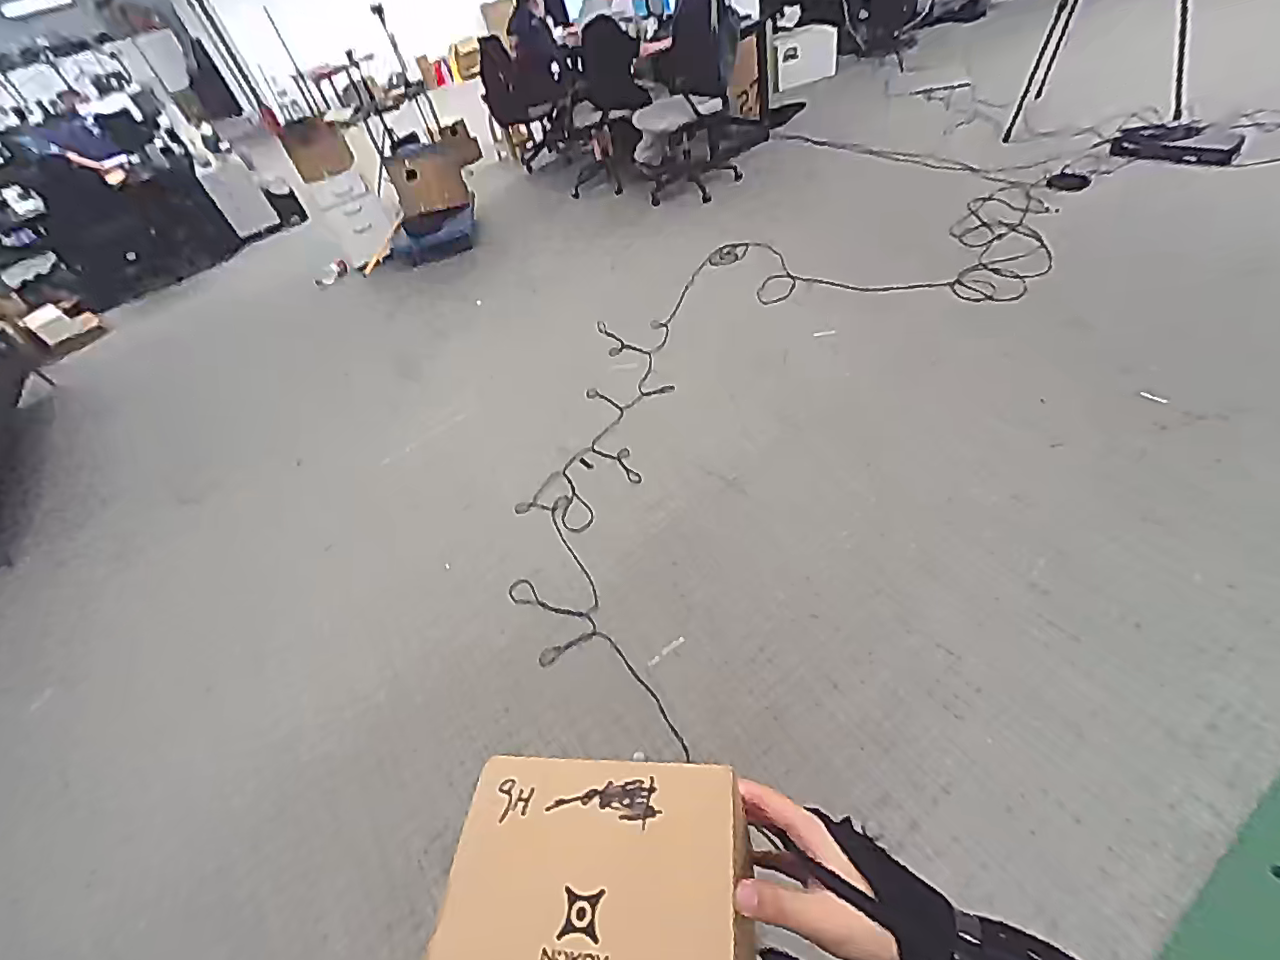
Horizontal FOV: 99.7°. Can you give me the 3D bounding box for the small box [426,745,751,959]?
[{"bbox_3d":[-0.017,0.293,0.347,0.168,0.176,0.179,-4,44,13],"label":"small box"}]
